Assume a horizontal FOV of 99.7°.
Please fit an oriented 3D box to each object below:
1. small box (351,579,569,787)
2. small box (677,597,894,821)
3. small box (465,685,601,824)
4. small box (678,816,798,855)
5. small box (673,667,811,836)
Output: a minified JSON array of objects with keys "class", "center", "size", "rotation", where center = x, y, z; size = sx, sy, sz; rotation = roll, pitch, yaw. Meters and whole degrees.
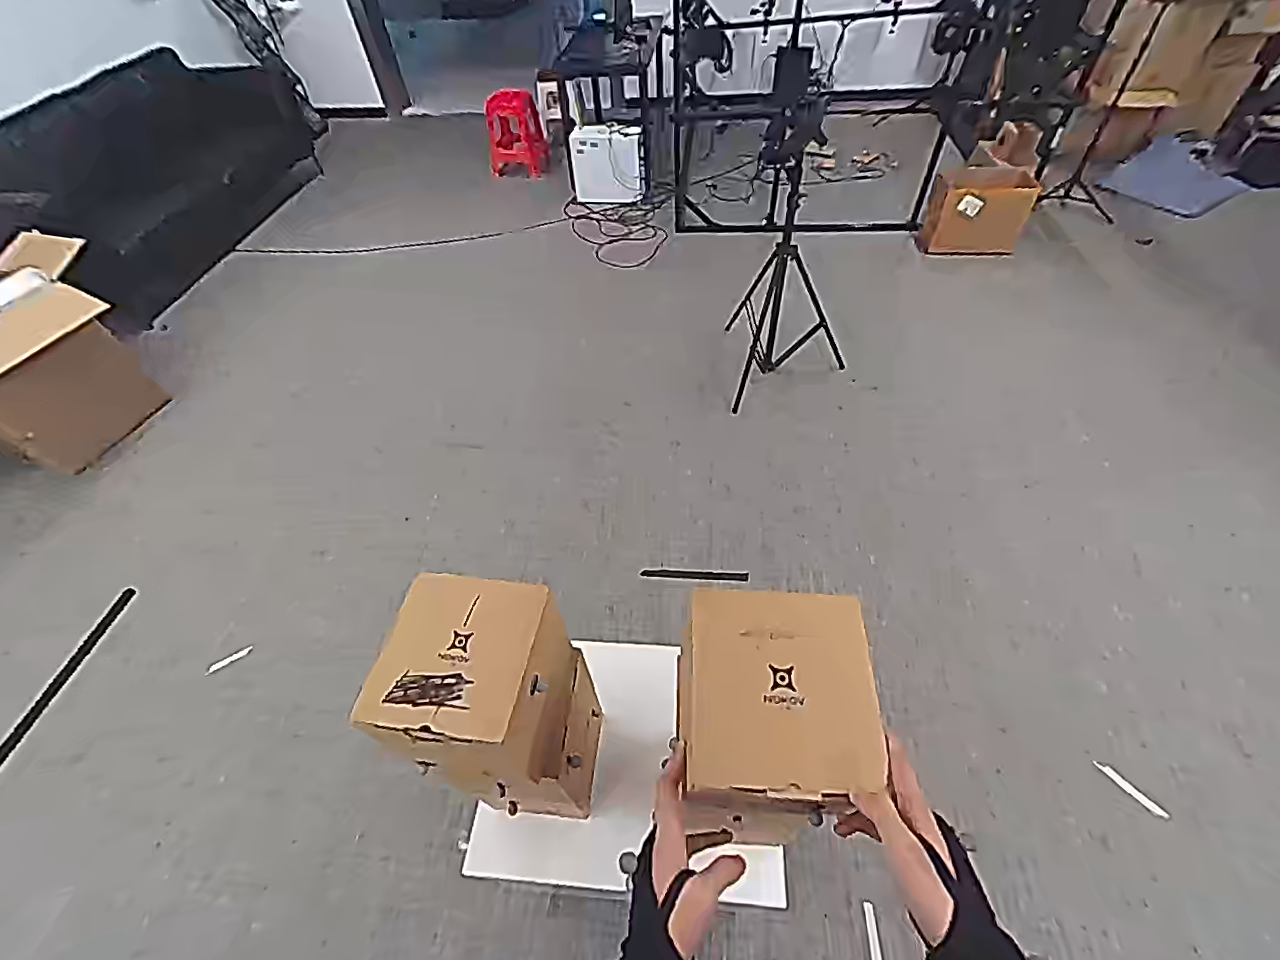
[{"class":"small box","center":[-0.189,0.241,0.636],"size":[0.168,0.176,0.179],"rotation":[5,49,9]},{"class":"small box","center":[0.126,0.235,0.544],"size":[0.168,0.176,0.179],"rotation":[2,54,1]},{"class":"small box","center":[-0.162,0.450,0.889],"size":[0.168,0.176,0.179],"rotation":[3,50,6]},{"class":"small box","center":[0.143,0.467,0.848],"size":[0.168,0.176,0.179],"rotation":[-1,49,6]},{"class":"small box","center":[0.132,0.361,0.722],"size":[0.168,0.176,0.179],"rotation":[0,50,6]}]
